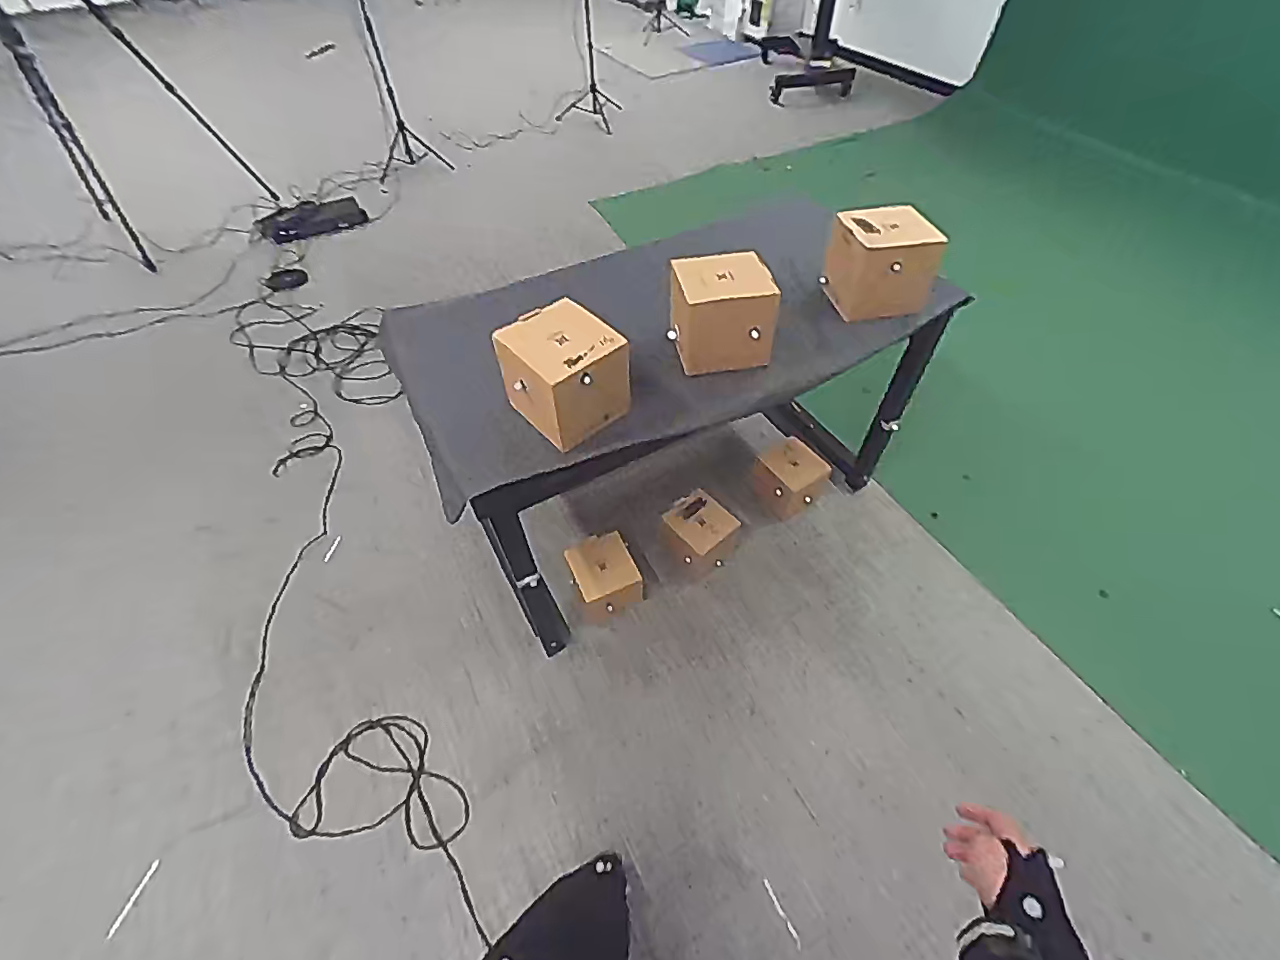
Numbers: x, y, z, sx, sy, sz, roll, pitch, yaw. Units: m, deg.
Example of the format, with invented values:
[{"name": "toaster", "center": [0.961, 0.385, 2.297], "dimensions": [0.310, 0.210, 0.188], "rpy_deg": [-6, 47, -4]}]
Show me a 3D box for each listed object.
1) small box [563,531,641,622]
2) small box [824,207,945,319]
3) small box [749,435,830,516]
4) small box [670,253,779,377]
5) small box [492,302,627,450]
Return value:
[{"name": "small box", "center": [-0.104, 0.283, 1.544], "dimensions": [0.168, 0.176, 0.179], "rpy_deg": [-21, 54, -14]}, {"name": "small box", "center": [0.518, -0.471, 1.184], "dimensions": [0.179, 0.176, 0.168], "rpy_deg": [-8, 50, -4]}, {"name": "small box", "center": [0.476, -0.005, 1.750], "dimensions": [0.168, 0.176, 0.179], "rpy_deg": [-29, 57, -20]}, {"name": "small box", "center": [0.160, -0.330, 1.090], "dimensions": [0.179, 0.176, 0.168], "rpy_deg": [-9, 49, -4]}, {"name": "small box", "center": [-0.139, -0.187, 0.984], "dimensions": [0.168, 0.176, 0.179], "rpy_deg": [-36, 60, -24]}]
